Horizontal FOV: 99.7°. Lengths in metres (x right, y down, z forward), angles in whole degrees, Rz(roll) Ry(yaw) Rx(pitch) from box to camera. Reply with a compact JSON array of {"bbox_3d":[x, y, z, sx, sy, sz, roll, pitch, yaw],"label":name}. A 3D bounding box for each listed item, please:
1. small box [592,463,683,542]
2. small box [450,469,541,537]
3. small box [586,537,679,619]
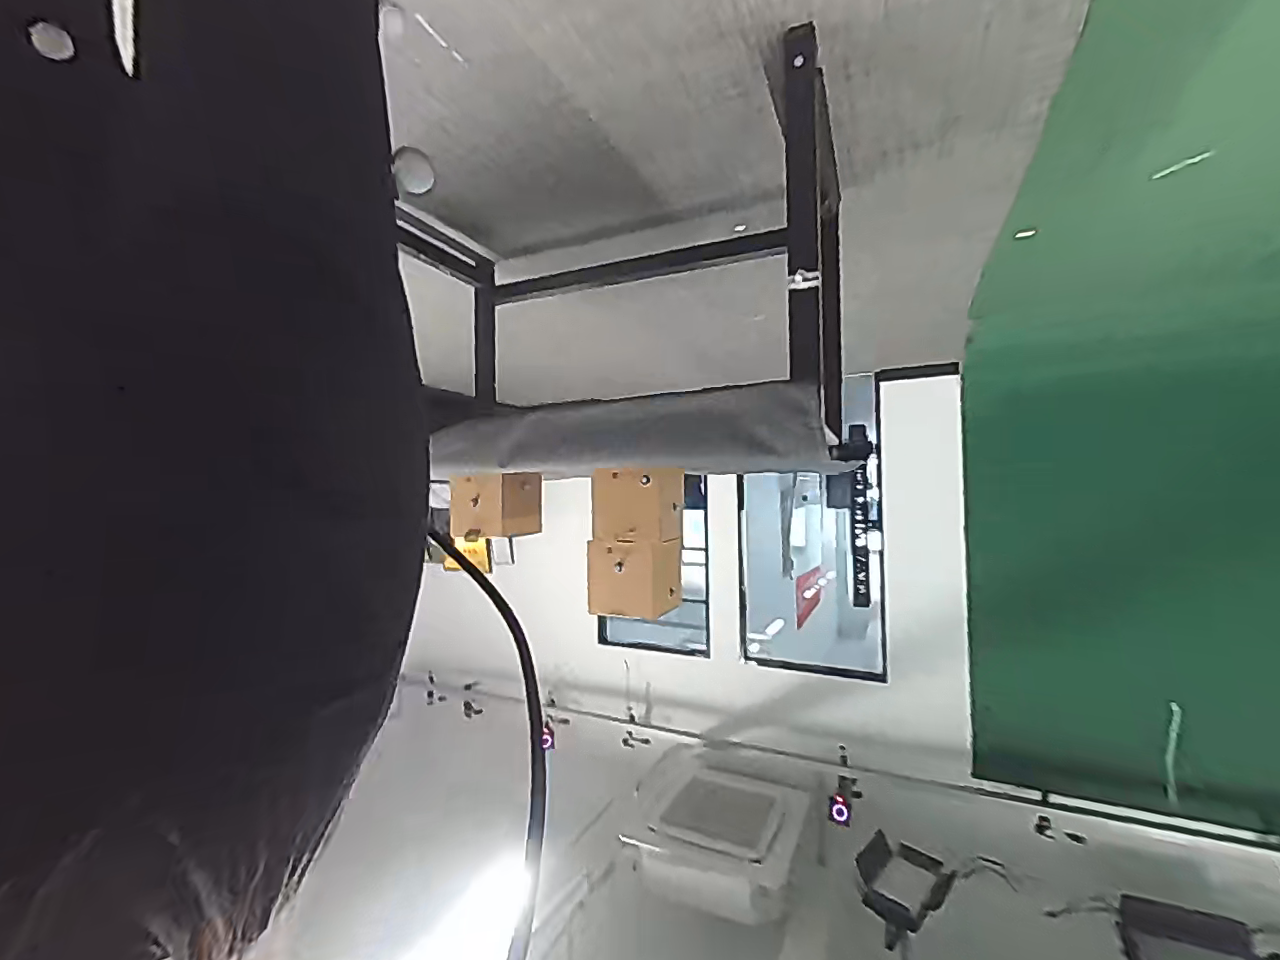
[{"bbox_3d":[-0.005,0.050,1.250,0.168,0.176,0.179,-1,180,22],"label":"small box"},{"bbox_3d":[-0.376,0.059,1.415,0.168,0.176,0.179,-1,178,23],"label":"small box"},{"bbox_3d":[-0.013,0.215,1.261,0.168,0.176,0.179,-2,179,25],"label":"small box"}]
